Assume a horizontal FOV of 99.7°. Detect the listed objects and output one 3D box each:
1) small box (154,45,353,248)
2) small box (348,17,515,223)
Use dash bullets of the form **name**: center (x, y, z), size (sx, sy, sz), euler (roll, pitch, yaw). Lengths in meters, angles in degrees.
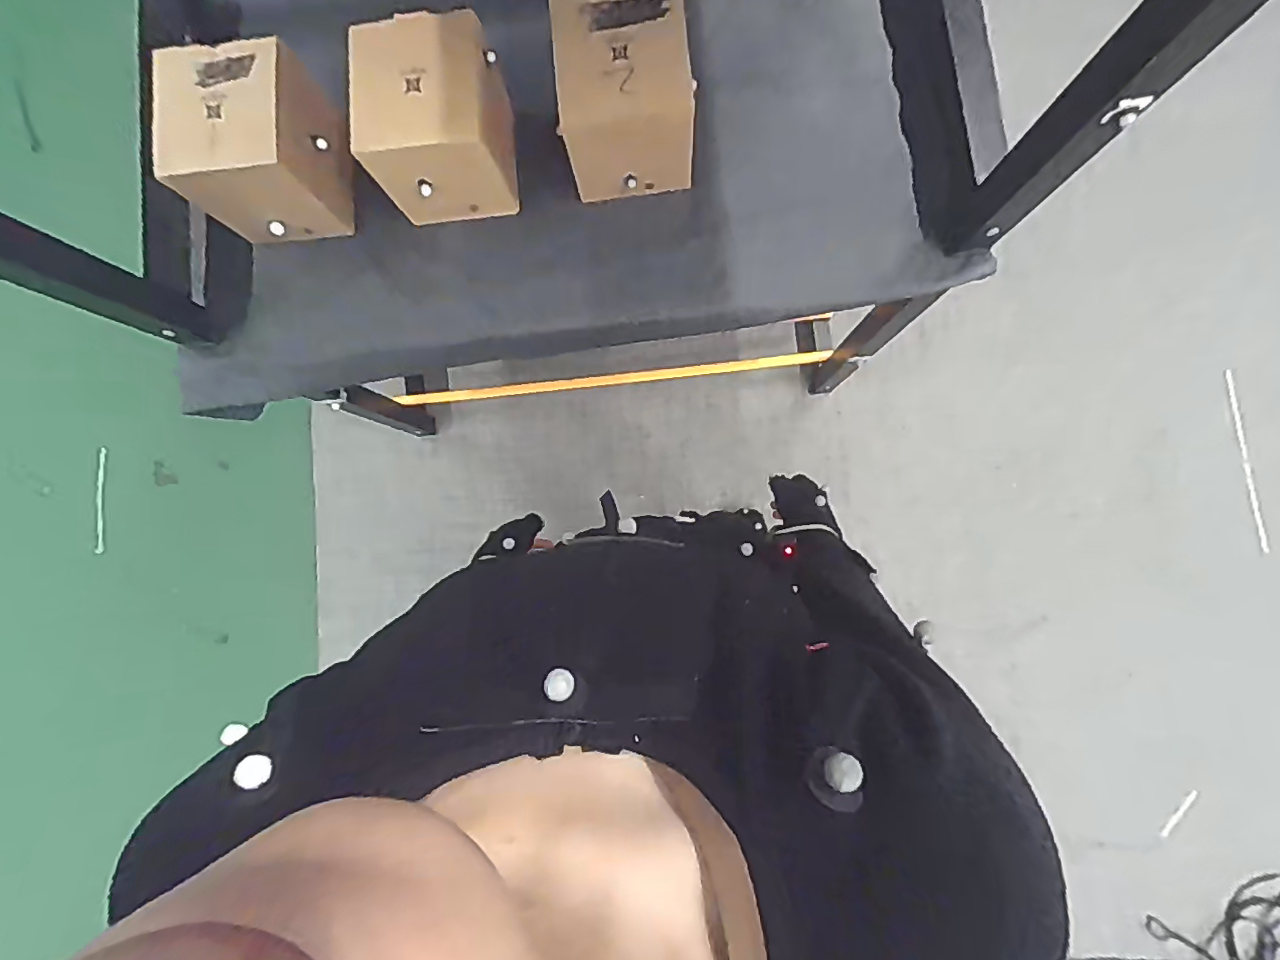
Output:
- **small box**: center (-0.530, -0.457, 0.765), size (0.168, 0.176, 0.179), euler (-5, 85, 3)
- **small box**: center (-0.279, -0.482, 0.755), size (0.168, 0.176, 0.179), euler (-5, 84, 3)
